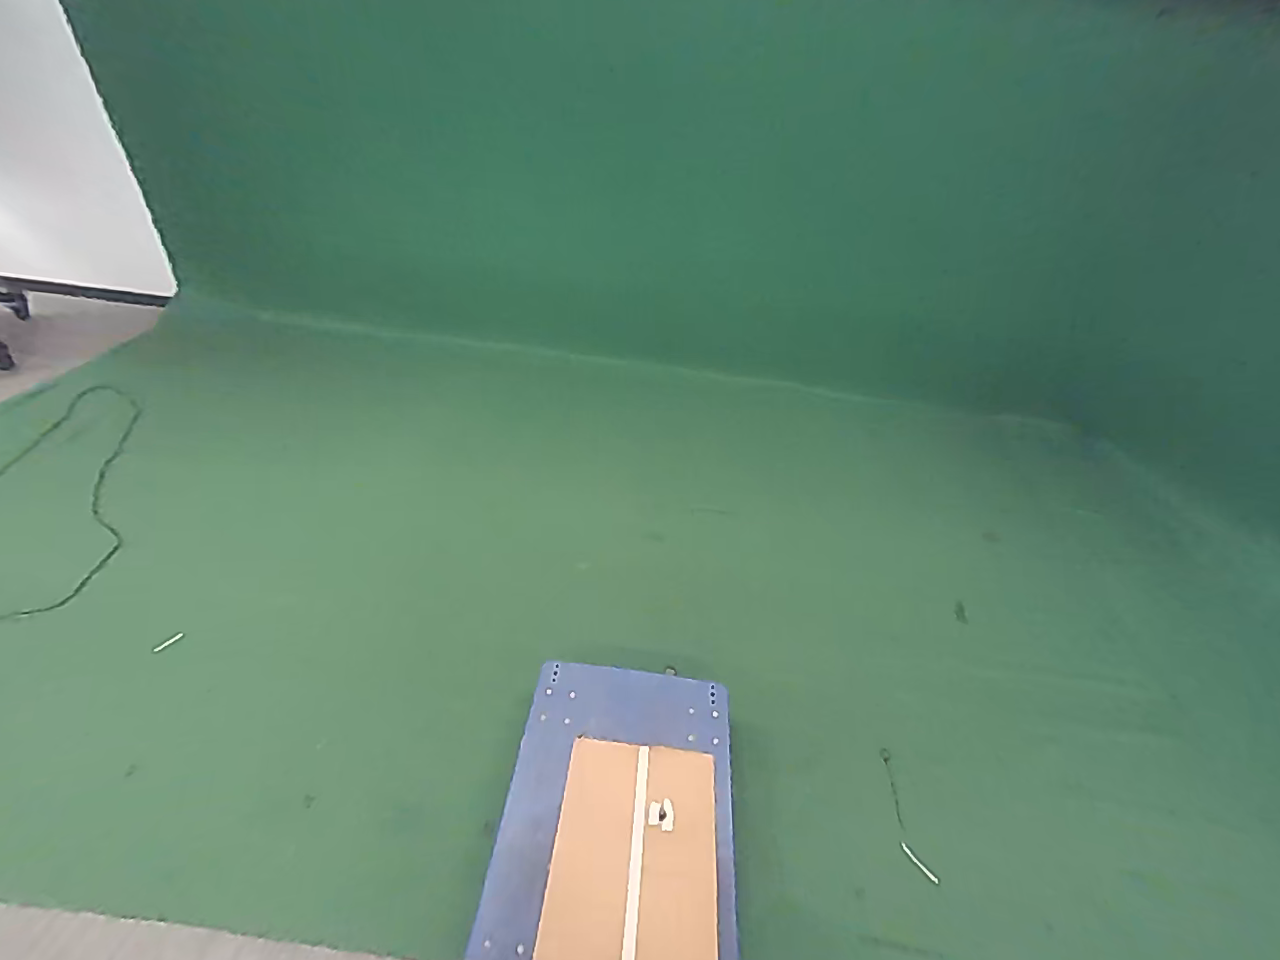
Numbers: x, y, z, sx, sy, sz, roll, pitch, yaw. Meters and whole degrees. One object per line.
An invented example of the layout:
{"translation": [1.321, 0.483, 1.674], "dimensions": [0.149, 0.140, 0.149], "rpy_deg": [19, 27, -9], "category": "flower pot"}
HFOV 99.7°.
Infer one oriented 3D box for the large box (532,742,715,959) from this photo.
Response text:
{"translation": [-0.030, 0.831, 1.125], "dimensions": [0.320, 0.320, 0.408], "rpy_deg": [8, 37, 0], "category": "large box"}
